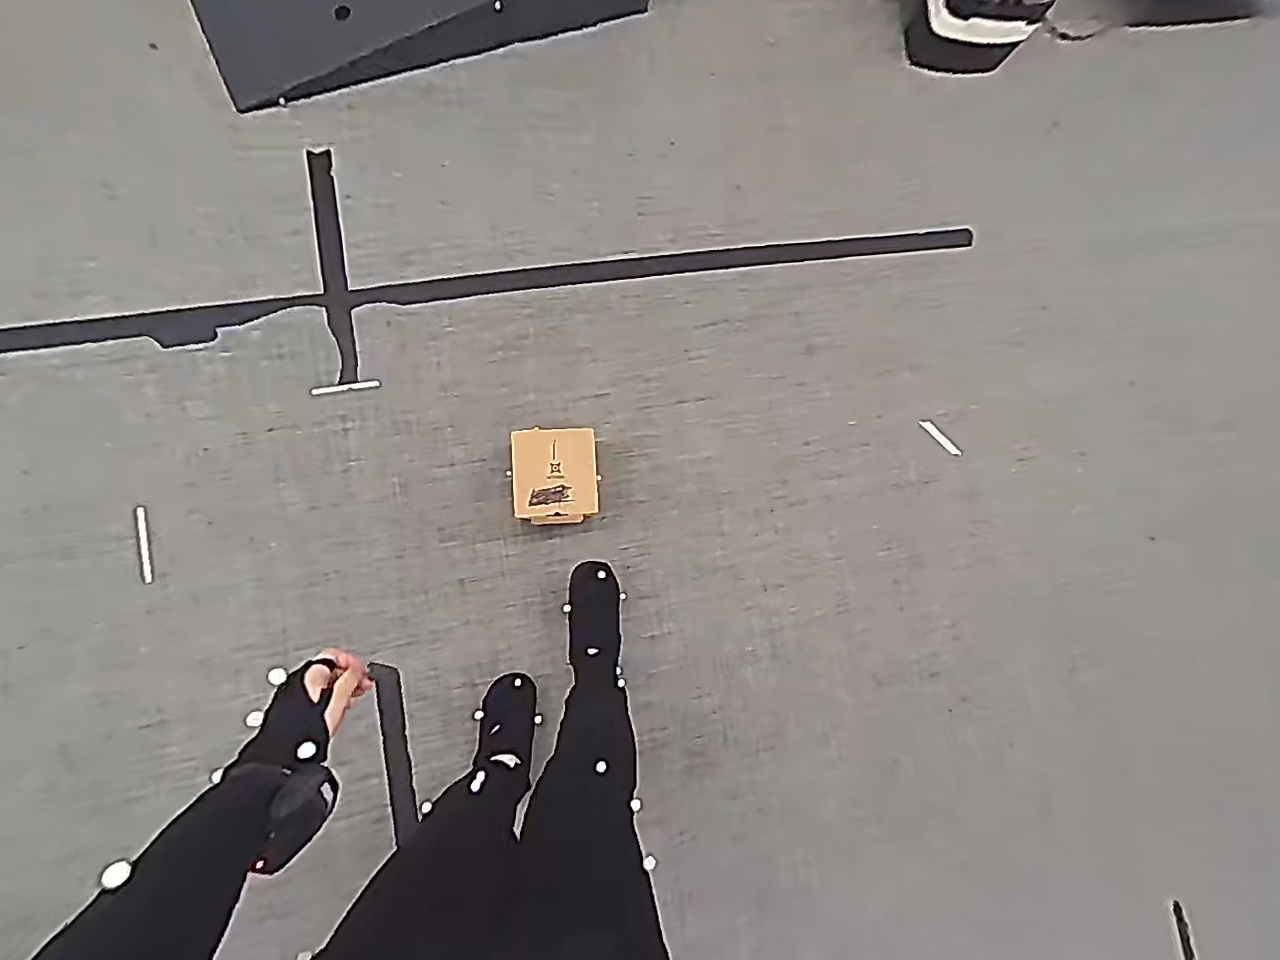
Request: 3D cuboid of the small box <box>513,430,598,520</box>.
[{"bbox_3d":[-0.177,-0.006,1.138,0.168,0.176,0.179,-2,85,-10],"label":"small box"}]
